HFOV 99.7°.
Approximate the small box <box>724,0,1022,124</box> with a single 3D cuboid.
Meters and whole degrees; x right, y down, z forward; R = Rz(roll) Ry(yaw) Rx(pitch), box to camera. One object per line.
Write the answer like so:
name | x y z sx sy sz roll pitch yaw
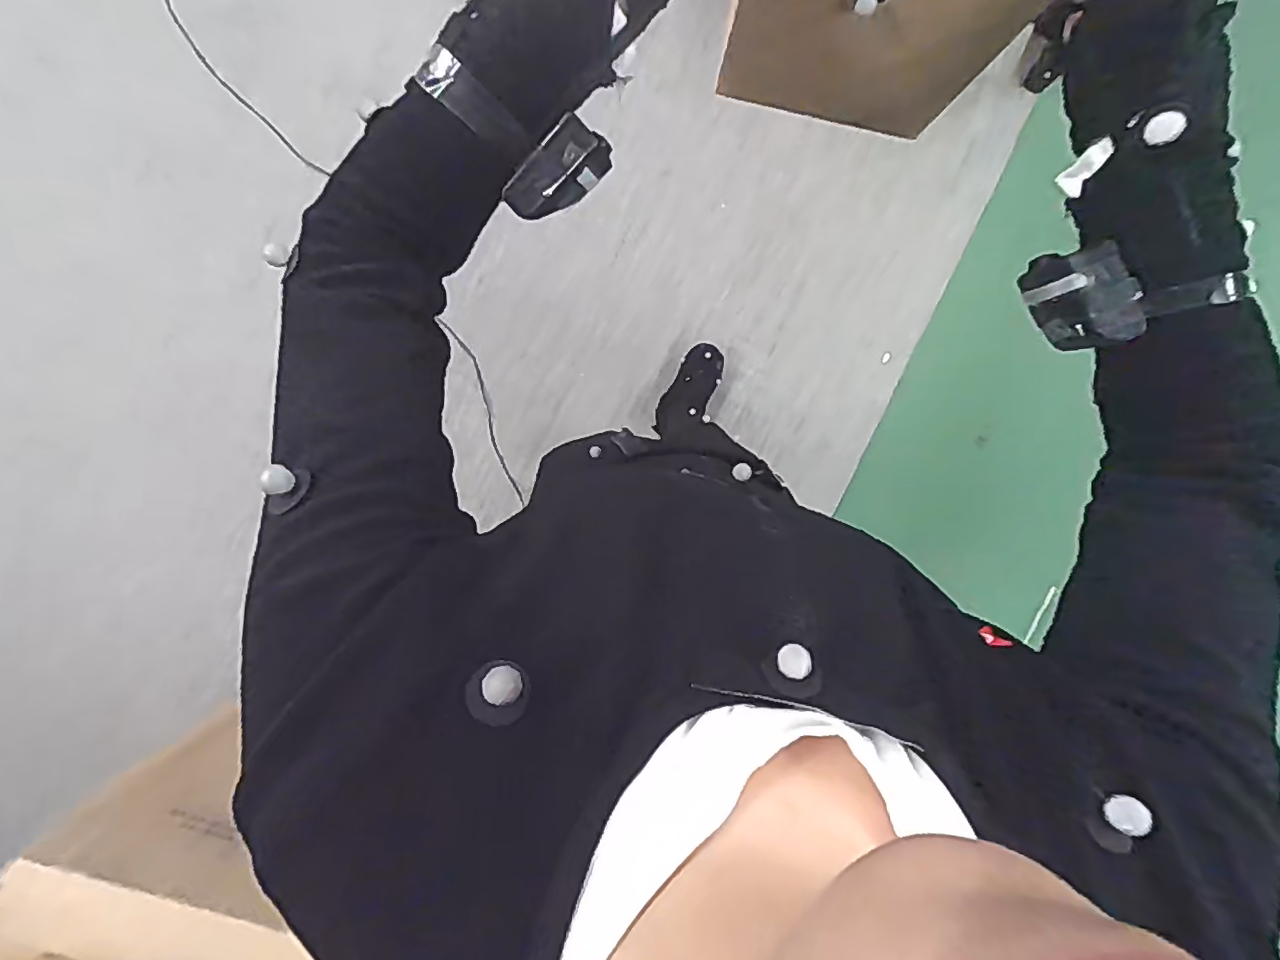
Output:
small box | 0.167 -0.381 0.365 0.179 0.176 0.168 11 94 -4
